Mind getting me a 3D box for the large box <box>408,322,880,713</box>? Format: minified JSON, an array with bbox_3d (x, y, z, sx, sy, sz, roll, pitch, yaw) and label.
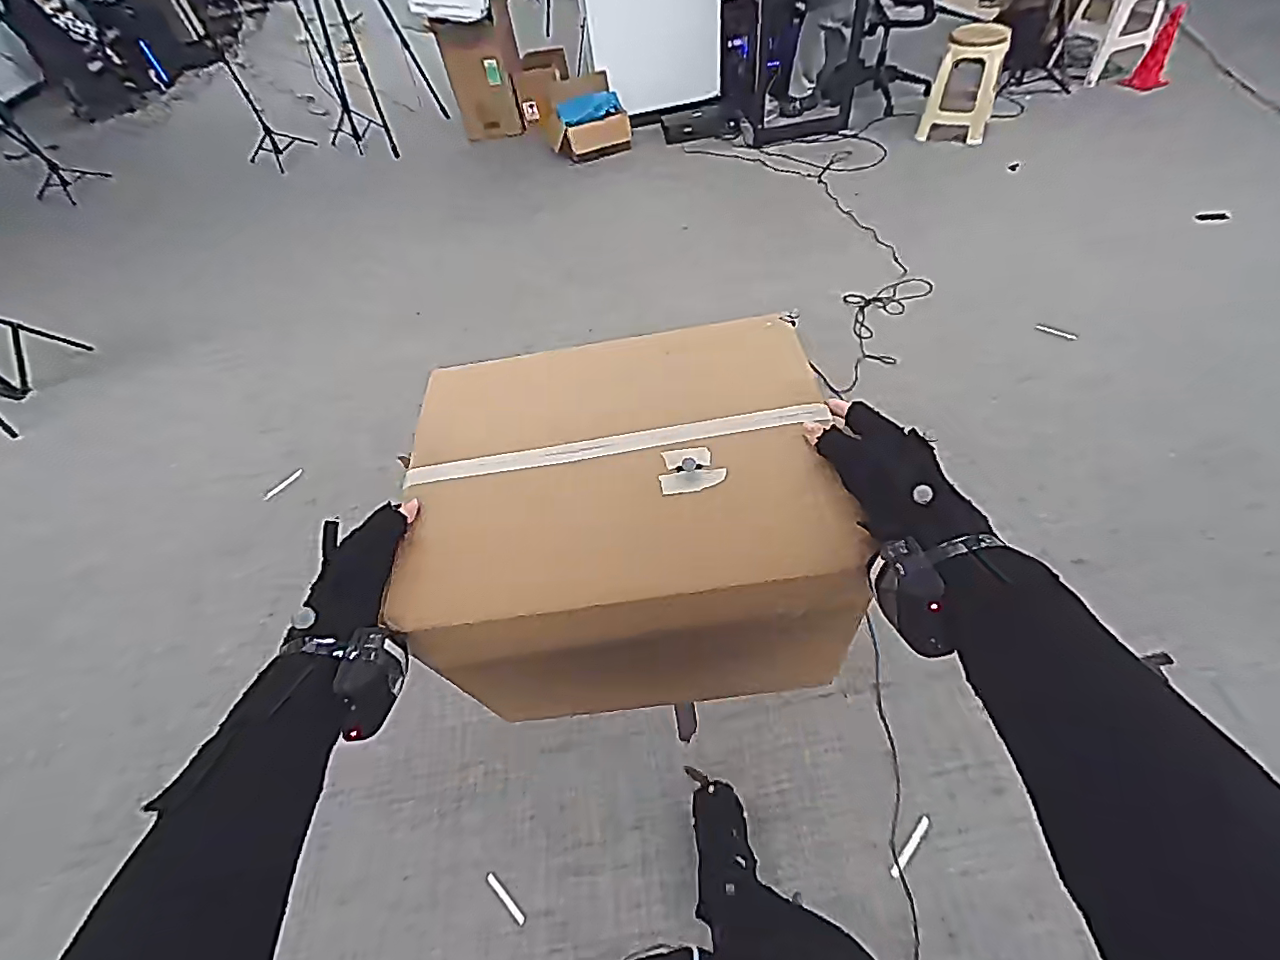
[{"bbox_3d":[0.003,0.058,0.649,0.408,0.320,0.320,-8,53,3],"label":"large box"}]
